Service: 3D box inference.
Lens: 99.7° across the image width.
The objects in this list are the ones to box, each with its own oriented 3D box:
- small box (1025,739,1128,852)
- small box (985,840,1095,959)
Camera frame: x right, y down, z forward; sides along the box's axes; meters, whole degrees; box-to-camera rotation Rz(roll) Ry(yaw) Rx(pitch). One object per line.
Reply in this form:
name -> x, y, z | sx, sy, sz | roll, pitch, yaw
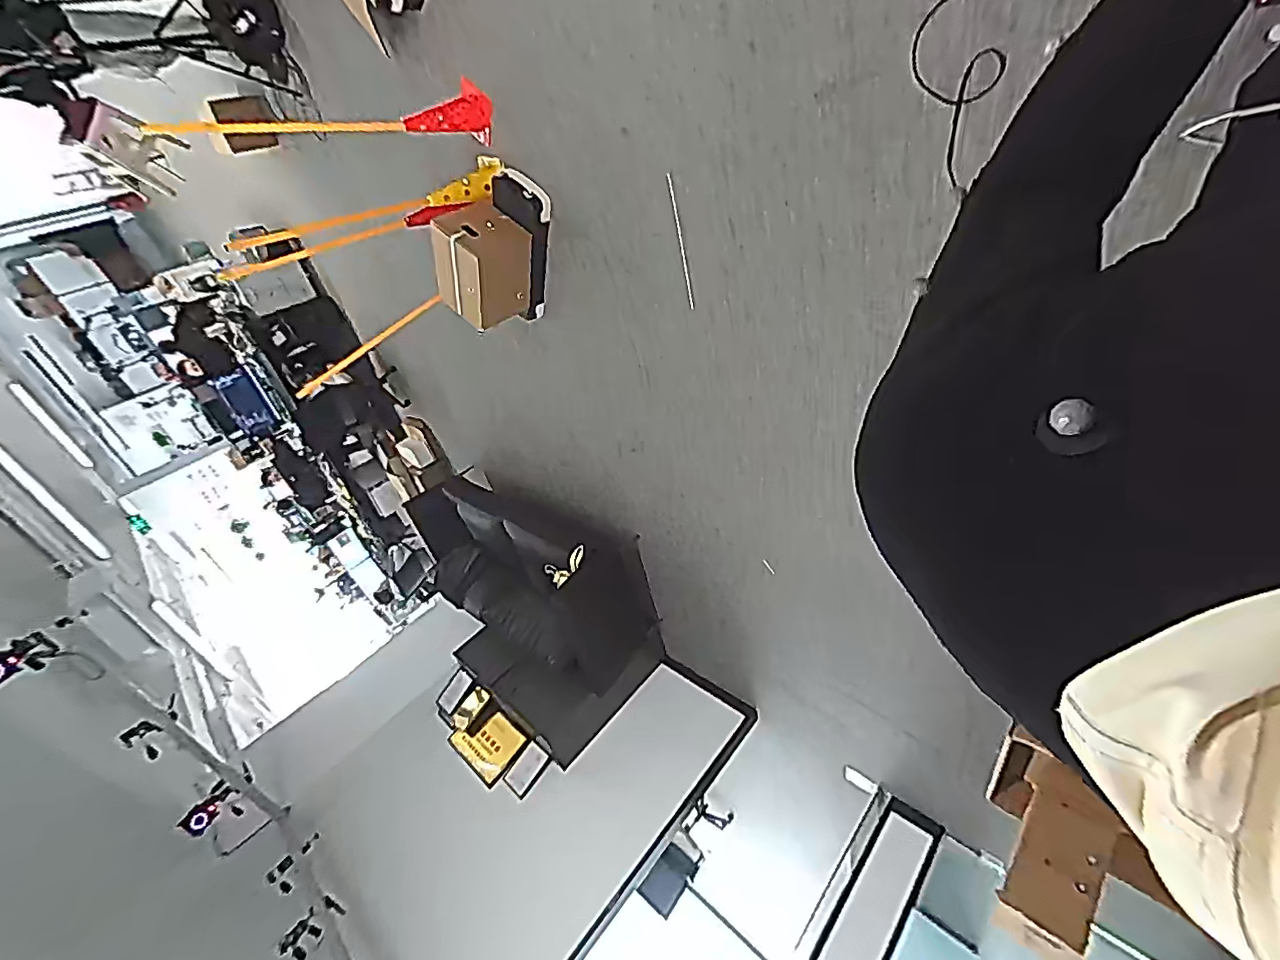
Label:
small box -> 1.197, 0.860, 1.484 | 0.168, 0.176, 0.179 | 23, 138, 40
small box -> 0.971, 1.029, 1.315 | 0.168, 0.176, 0.179 | 22, 139, 41
